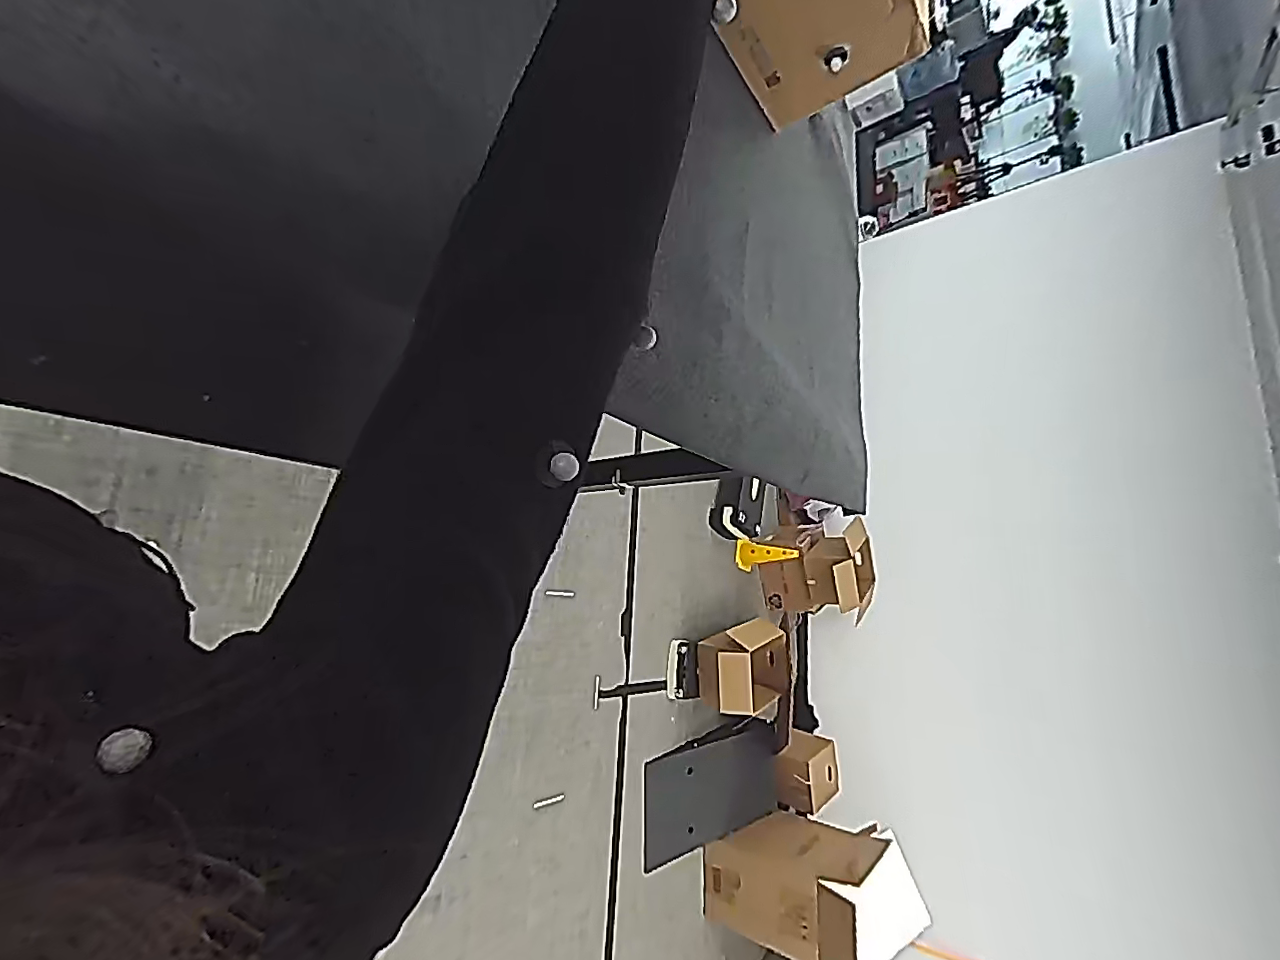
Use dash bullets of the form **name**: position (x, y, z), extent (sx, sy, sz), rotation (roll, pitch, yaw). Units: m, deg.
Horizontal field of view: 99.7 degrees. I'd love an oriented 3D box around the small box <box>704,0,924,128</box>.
- **small box**: position (0.176, -0.513, 0.549), extent (0.168, 0.176, 0.179), rotation (24, 67, -48)
